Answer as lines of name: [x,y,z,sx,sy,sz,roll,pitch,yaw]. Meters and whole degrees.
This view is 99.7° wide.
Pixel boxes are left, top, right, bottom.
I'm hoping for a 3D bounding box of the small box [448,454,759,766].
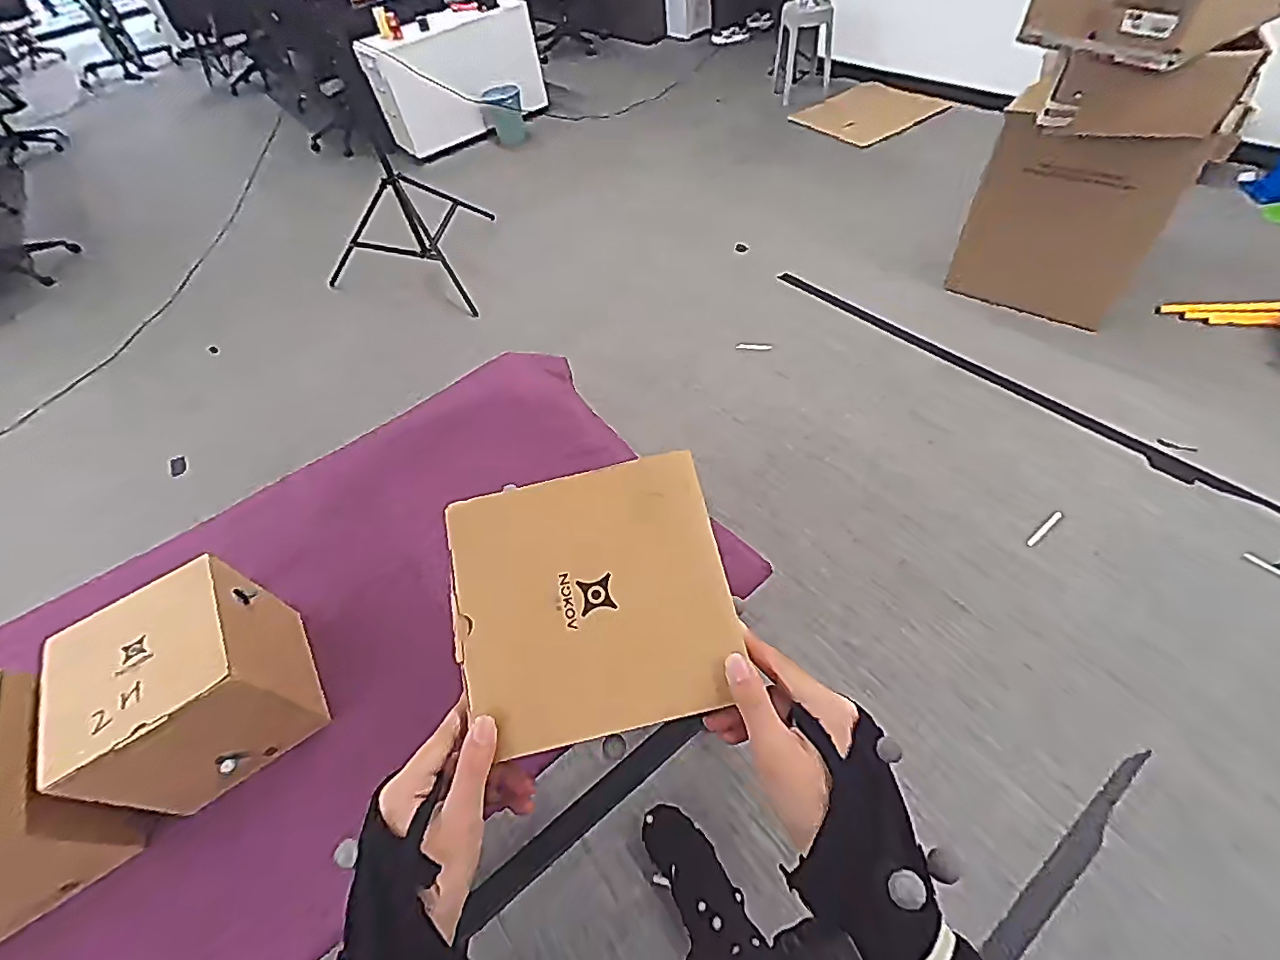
small box: [-0.024,0.100,0.418,0.179,0.176,0.168,-14,70,1]
